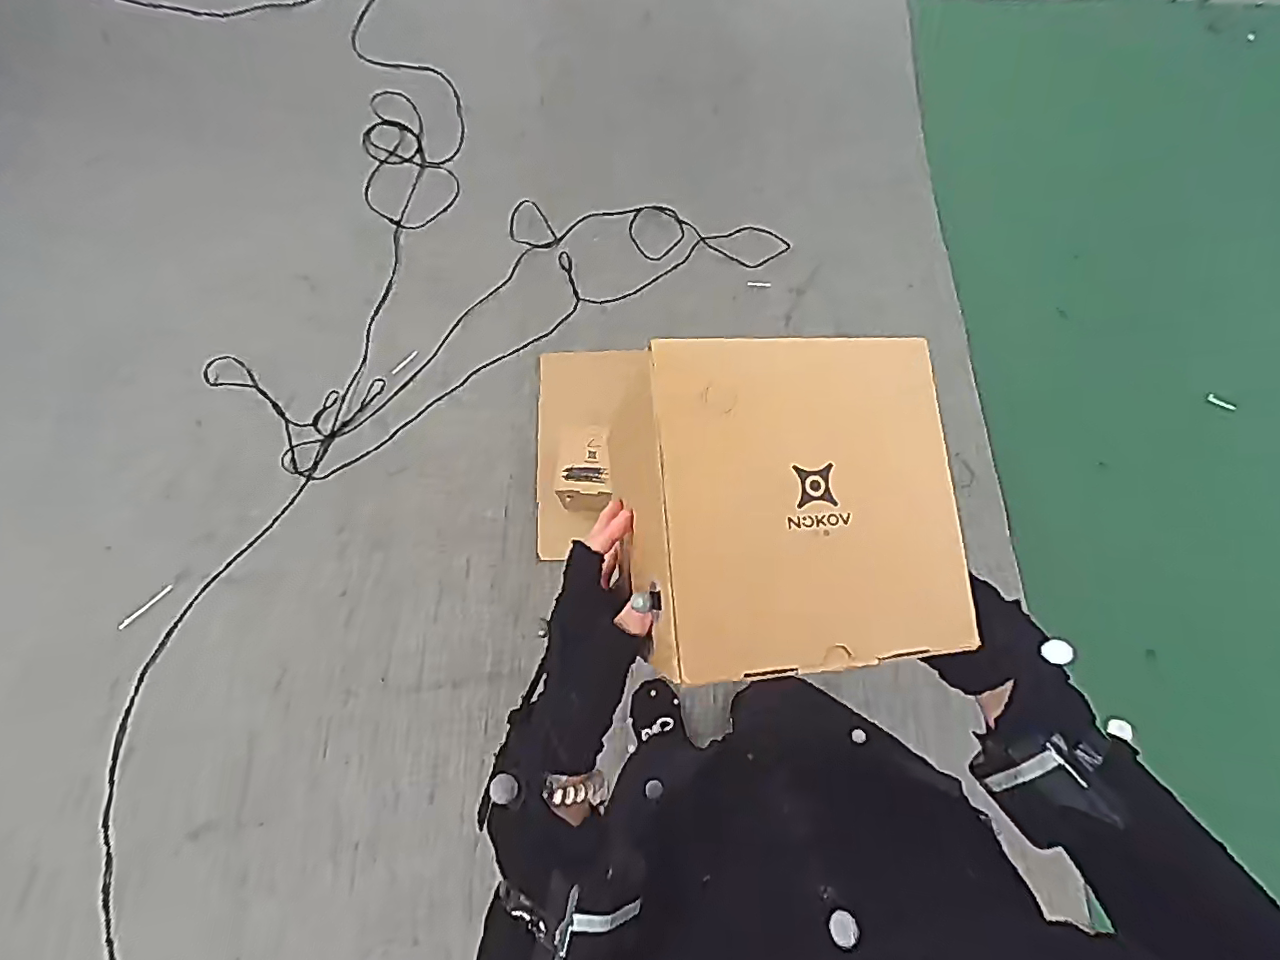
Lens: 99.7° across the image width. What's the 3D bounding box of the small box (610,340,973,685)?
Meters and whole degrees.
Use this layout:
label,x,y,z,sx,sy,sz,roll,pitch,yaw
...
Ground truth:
label,x,y,z,sx,sy,sz,roll,pitch,yaw
small box,0.075,0.022,0.361,0.168,0.176,0.179,-4,82,-11
